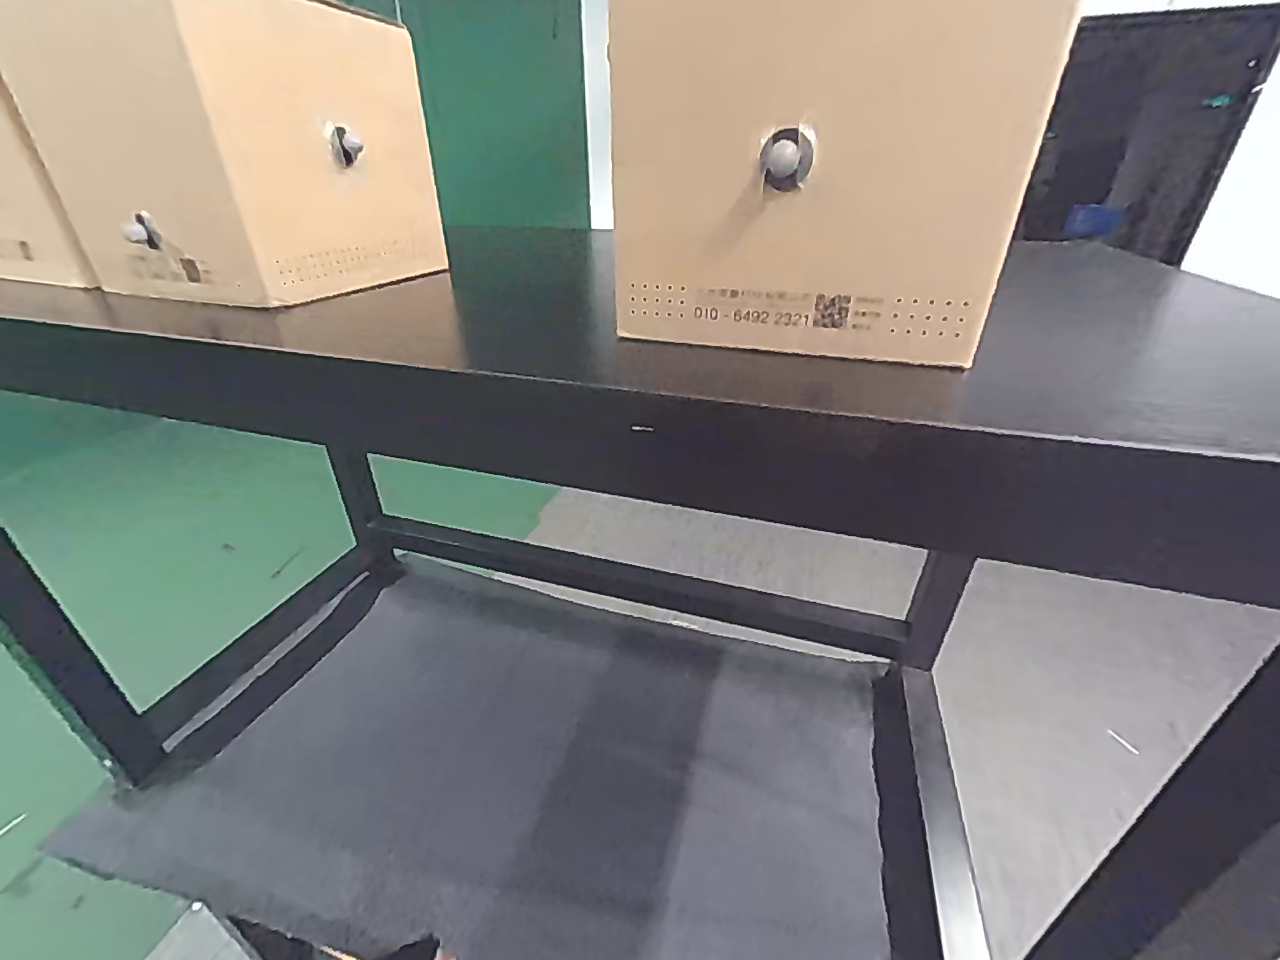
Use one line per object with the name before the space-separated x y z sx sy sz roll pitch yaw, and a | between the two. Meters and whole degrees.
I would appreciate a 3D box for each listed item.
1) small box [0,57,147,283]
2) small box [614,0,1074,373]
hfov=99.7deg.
small box | -0.618 -0.287 0.501 0.168 0.176 0.179 9 32 14
small box | 0.096 -0.165 0.288 0.168 0.176 0.179 10 31 17
